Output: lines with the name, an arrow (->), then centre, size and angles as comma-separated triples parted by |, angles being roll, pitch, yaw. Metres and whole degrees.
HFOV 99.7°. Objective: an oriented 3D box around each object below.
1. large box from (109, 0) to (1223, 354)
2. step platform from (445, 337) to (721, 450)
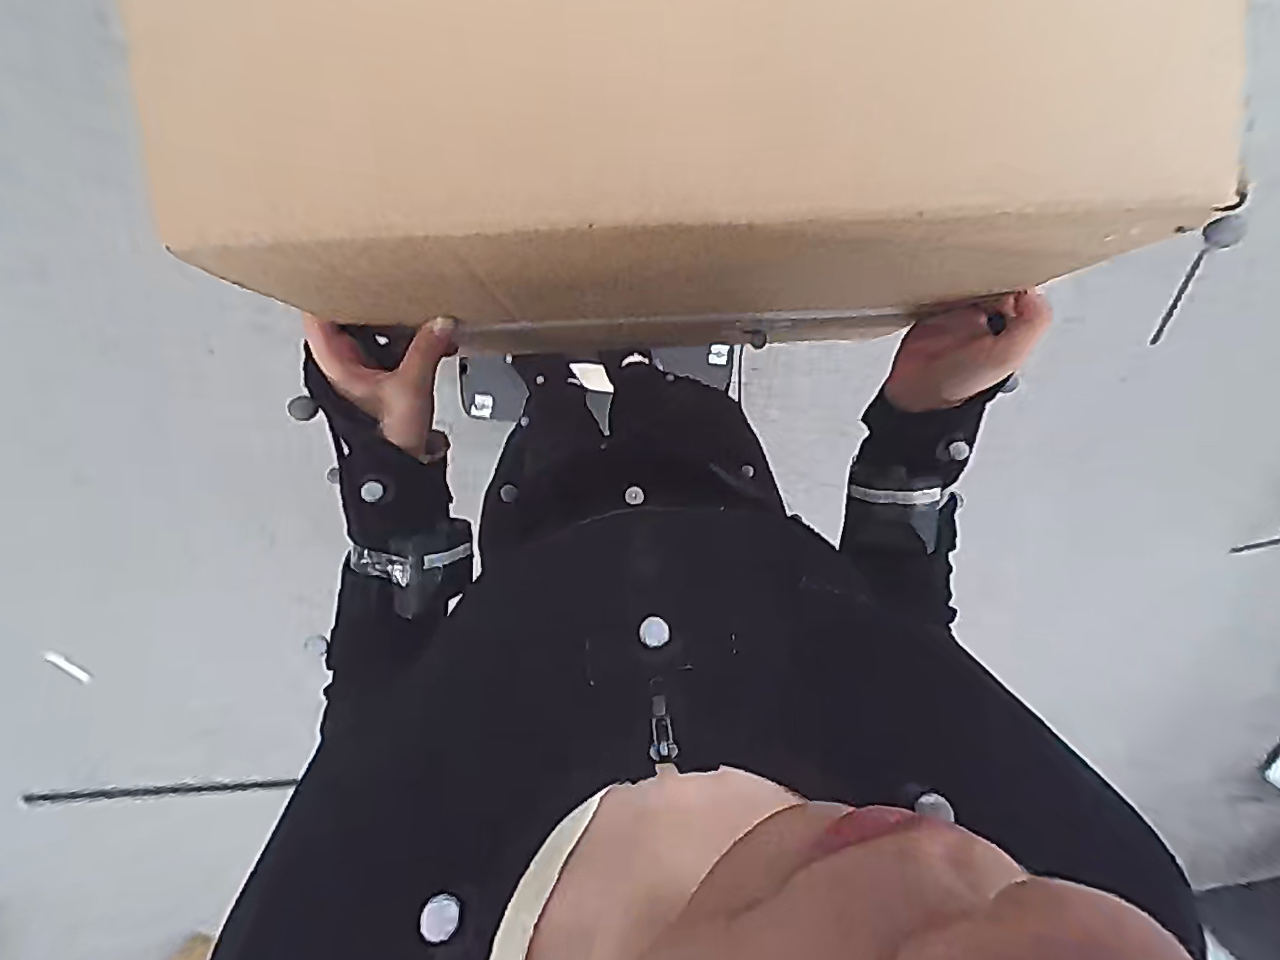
large box -> 0.003, -0.264, 0.331 | 0.408, 0.320, 0.320 | -4, 97, -1
step platform -> -0.139, -0.276, 1.393 | 0.684, 0.204, 0.286 | 9, 111, -15
